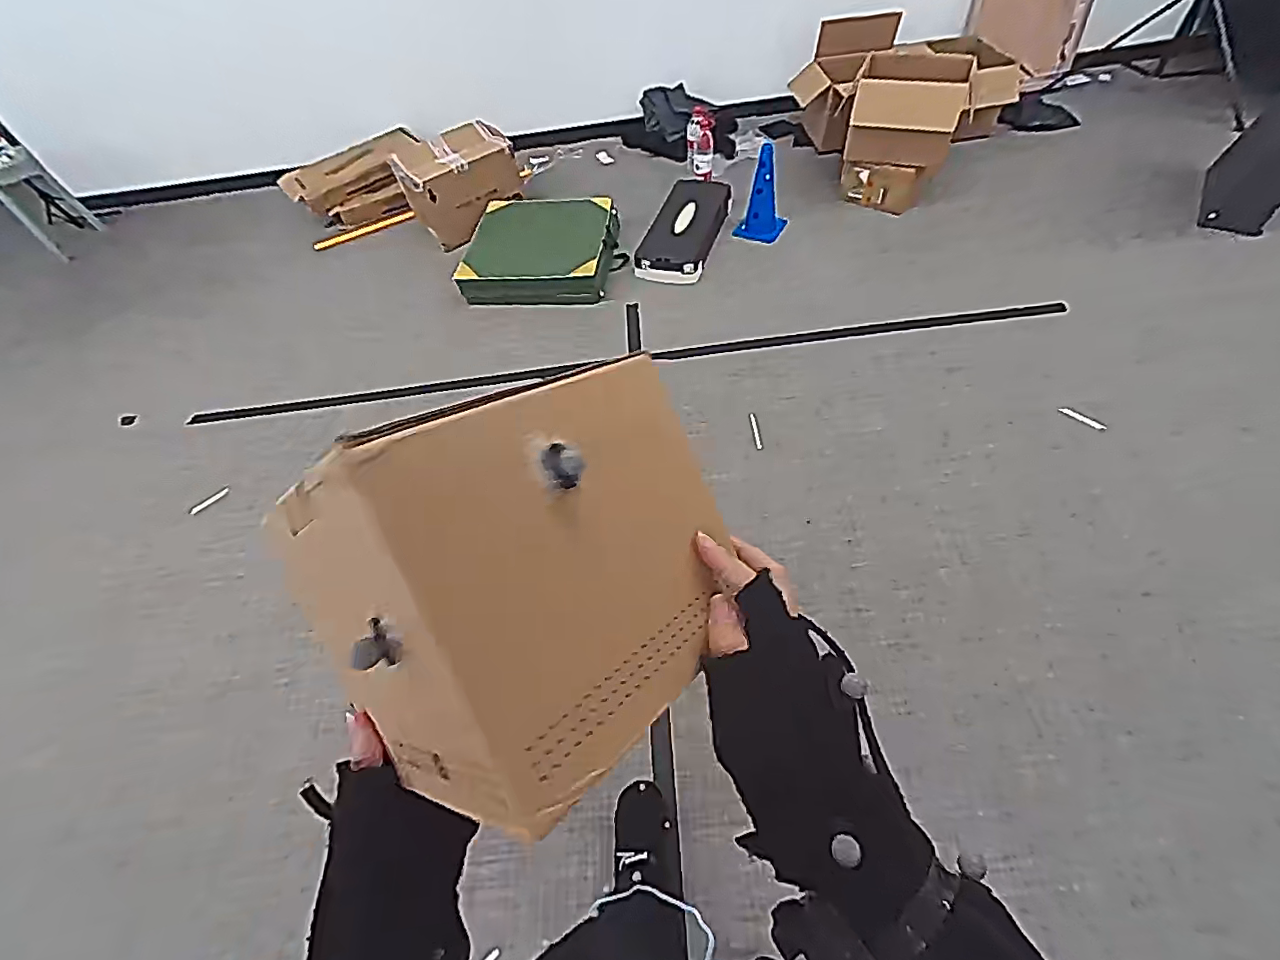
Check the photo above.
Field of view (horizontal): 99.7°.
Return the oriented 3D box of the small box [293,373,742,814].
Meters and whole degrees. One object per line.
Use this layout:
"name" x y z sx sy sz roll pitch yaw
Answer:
"small box" -0.065 0.058 0.325 0.179 0.168 0.176 -27 96 -45
